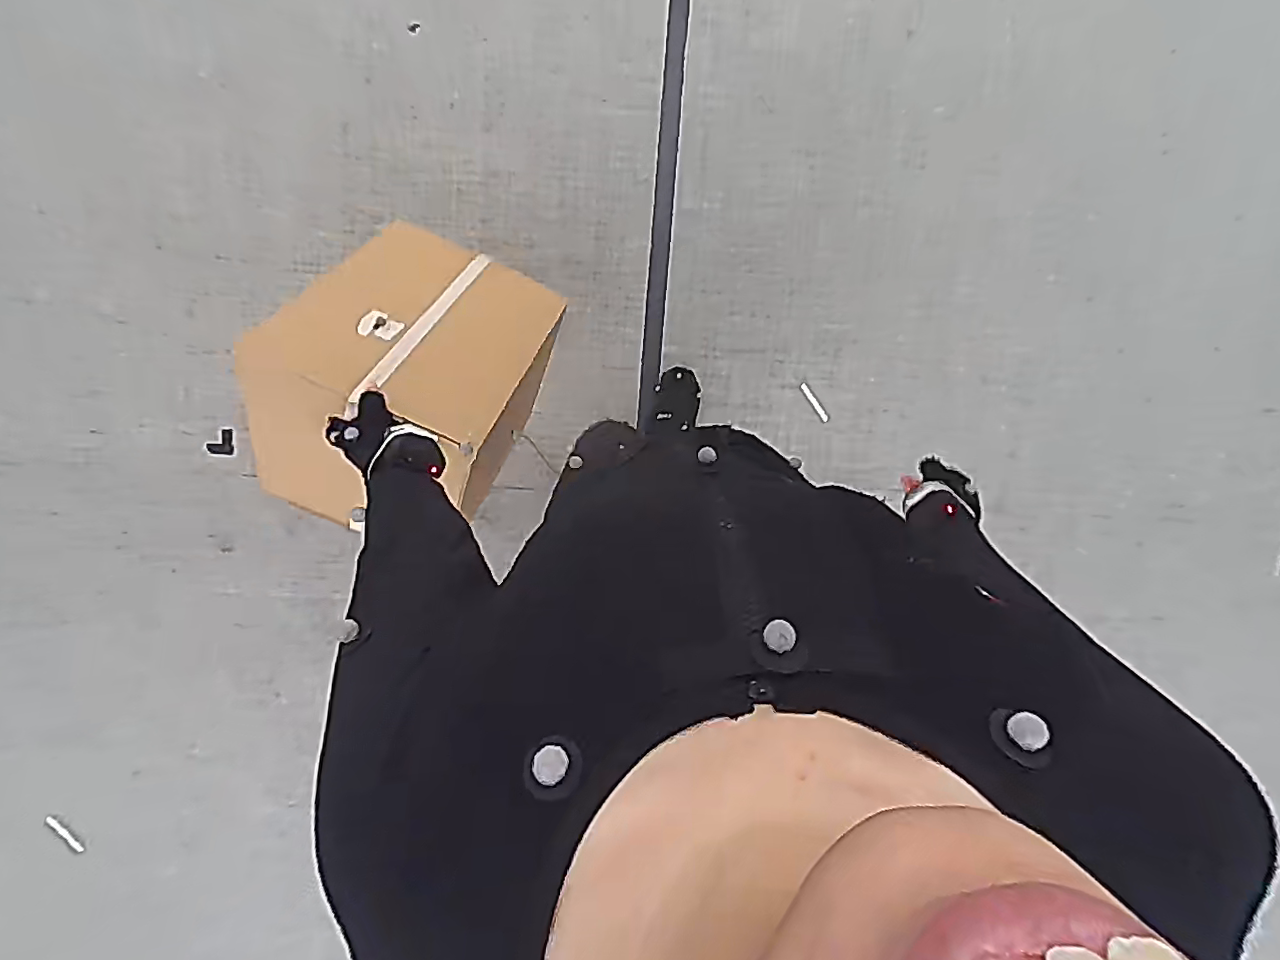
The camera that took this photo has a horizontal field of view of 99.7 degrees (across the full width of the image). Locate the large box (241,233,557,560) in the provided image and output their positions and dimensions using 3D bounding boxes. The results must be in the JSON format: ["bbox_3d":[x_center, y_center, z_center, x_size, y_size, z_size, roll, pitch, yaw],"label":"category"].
[{"bbox_3d":[-0.378,-0.144,0.934,0.320,0.408,0.320,23,137,-7],"label":"large box"}]
